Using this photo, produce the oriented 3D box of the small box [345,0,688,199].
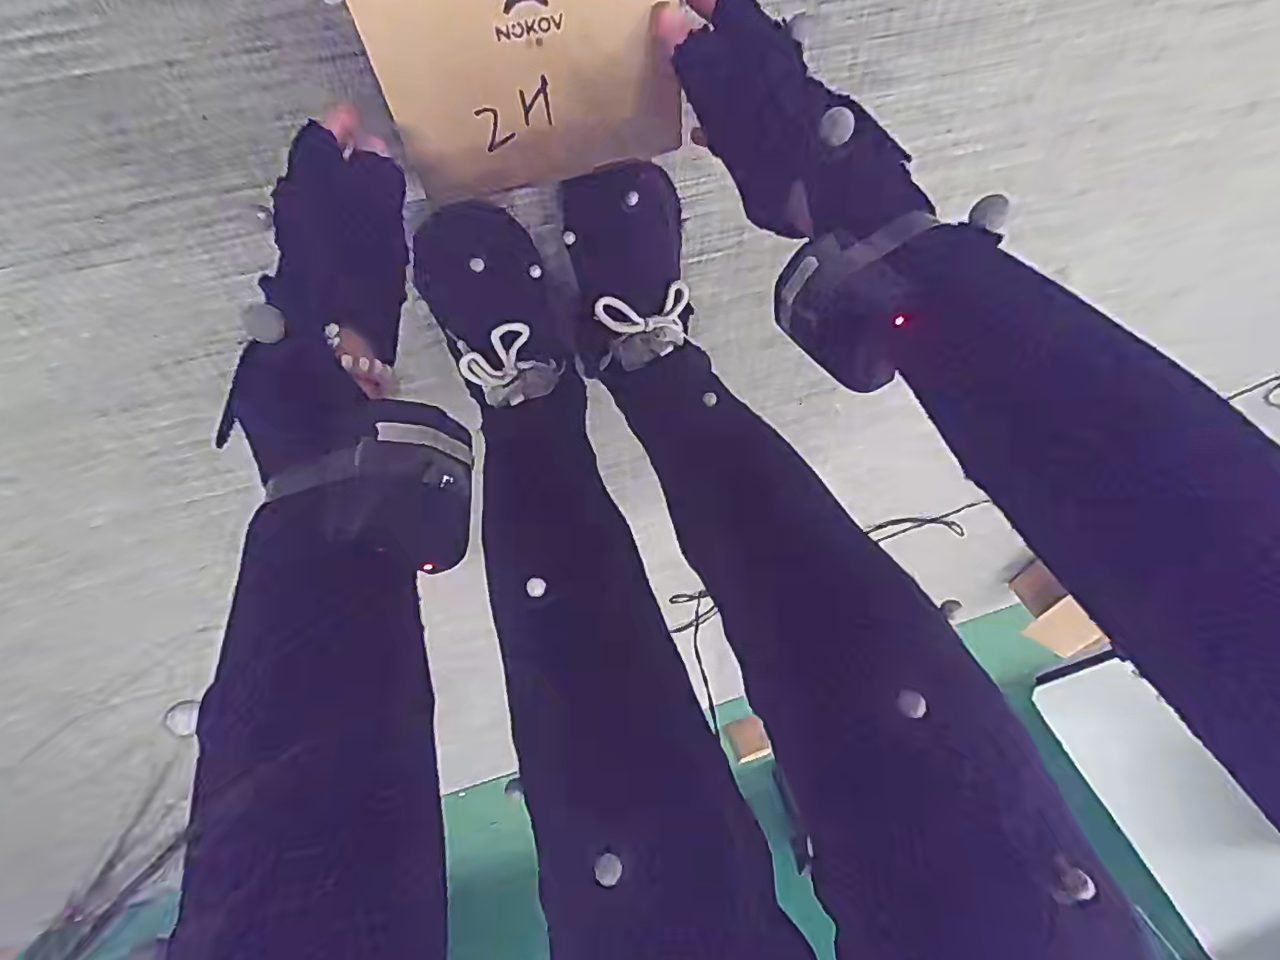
[{"bbox_3d":[-0.079,-0.297,0.300,0.168,0.176,0.179,-16,146,-5],"label":"small box"}]
